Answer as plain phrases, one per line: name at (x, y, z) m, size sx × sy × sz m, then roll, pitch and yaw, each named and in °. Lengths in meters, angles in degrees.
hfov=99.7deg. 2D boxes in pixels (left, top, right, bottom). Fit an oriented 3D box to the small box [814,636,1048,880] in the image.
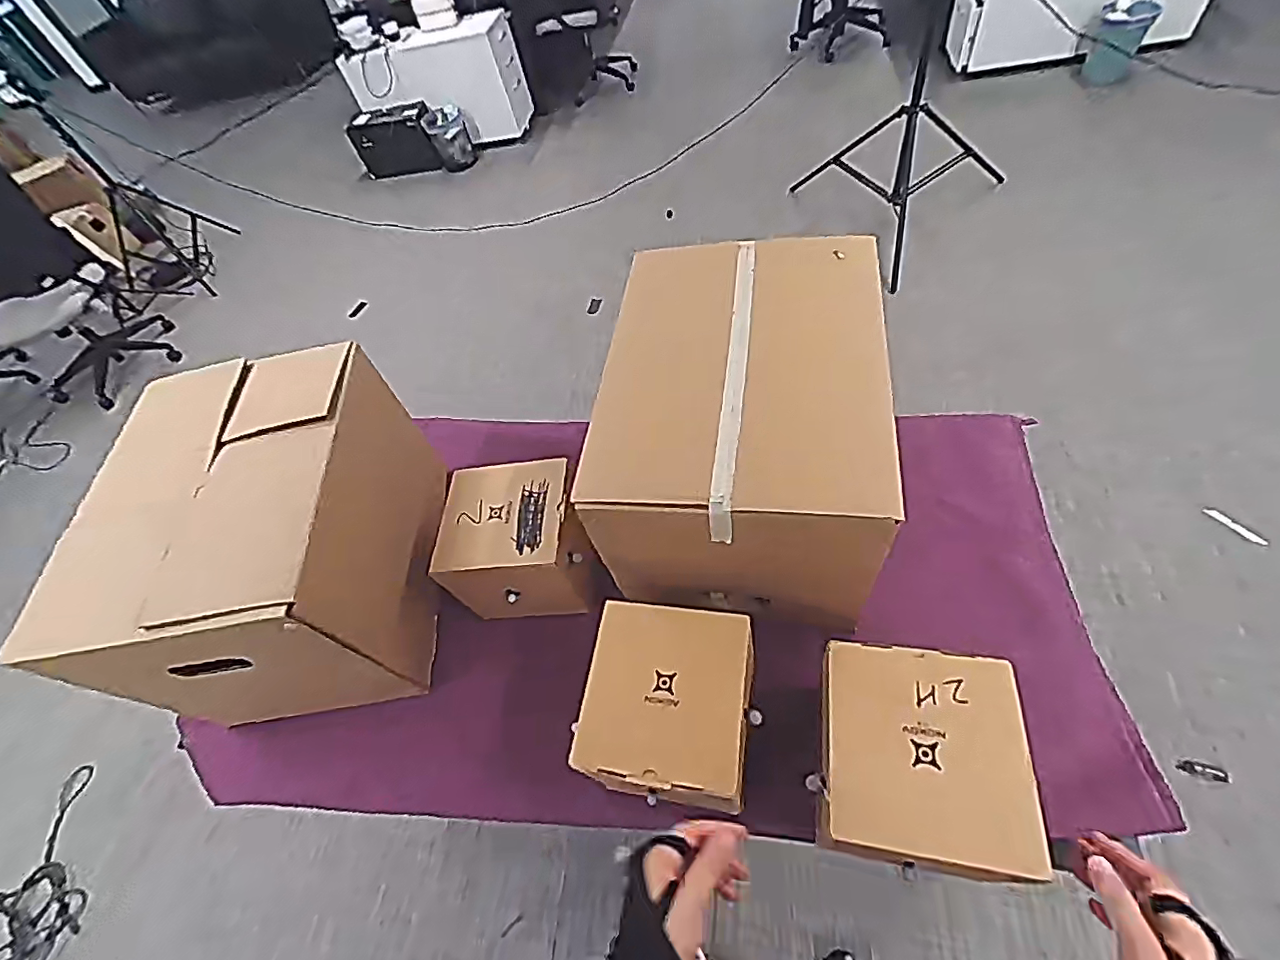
small box at (0.268, 0.279, 0.544) m, size 0.168 × 0.176 × 0.179 m, roll 2°, pitch 54°, yaw 15°
